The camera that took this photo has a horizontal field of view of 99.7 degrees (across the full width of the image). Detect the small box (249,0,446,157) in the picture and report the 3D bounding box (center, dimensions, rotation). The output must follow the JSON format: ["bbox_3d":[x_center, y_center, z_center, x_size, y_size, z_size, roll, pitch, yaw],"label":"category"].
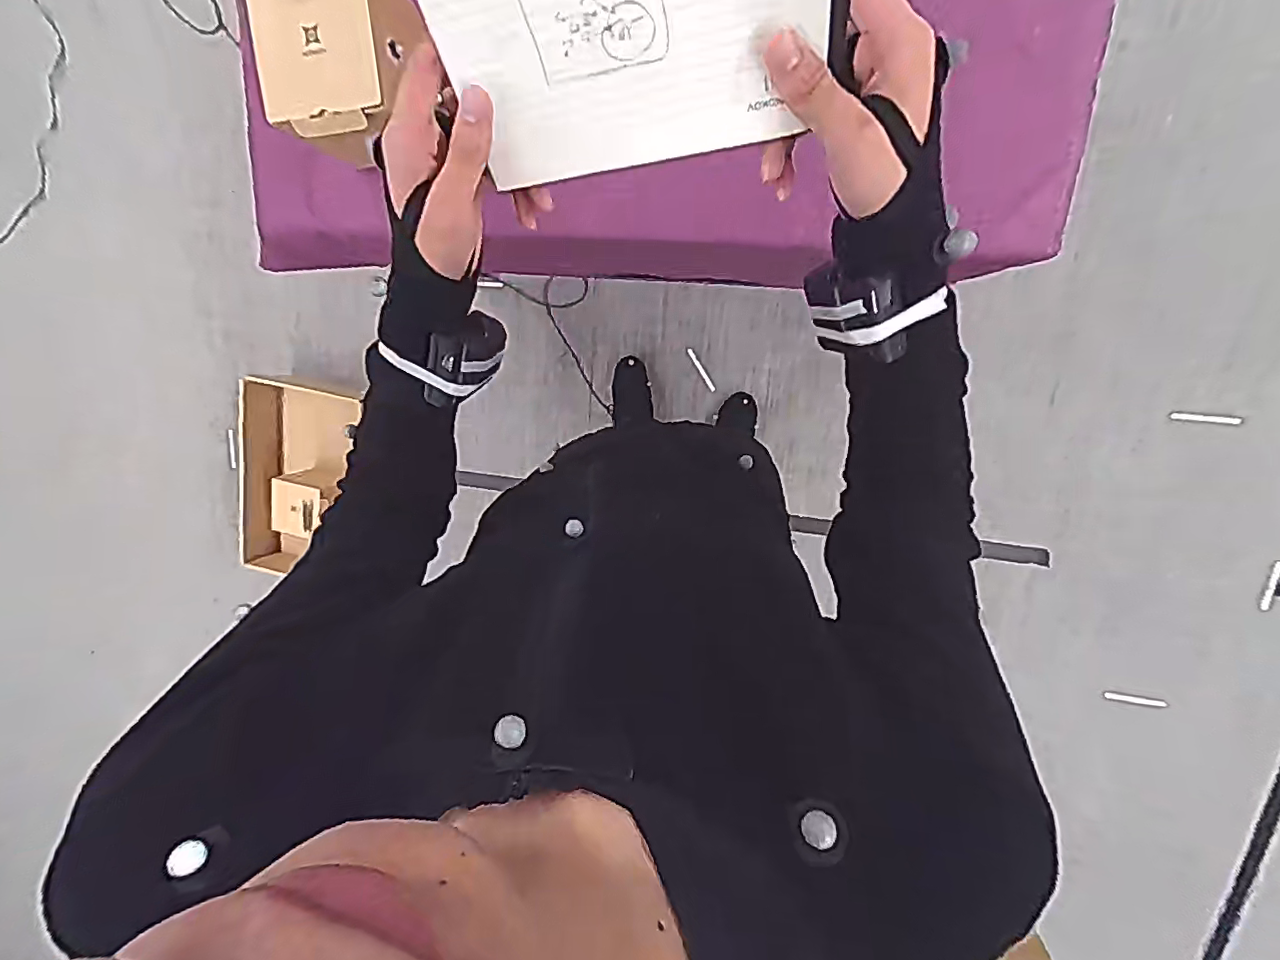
[{"bbox_3d":[-0.386,-0.566,0.741,0.168,0.176,0.179,-1,102,10],"label":"small box"}]
